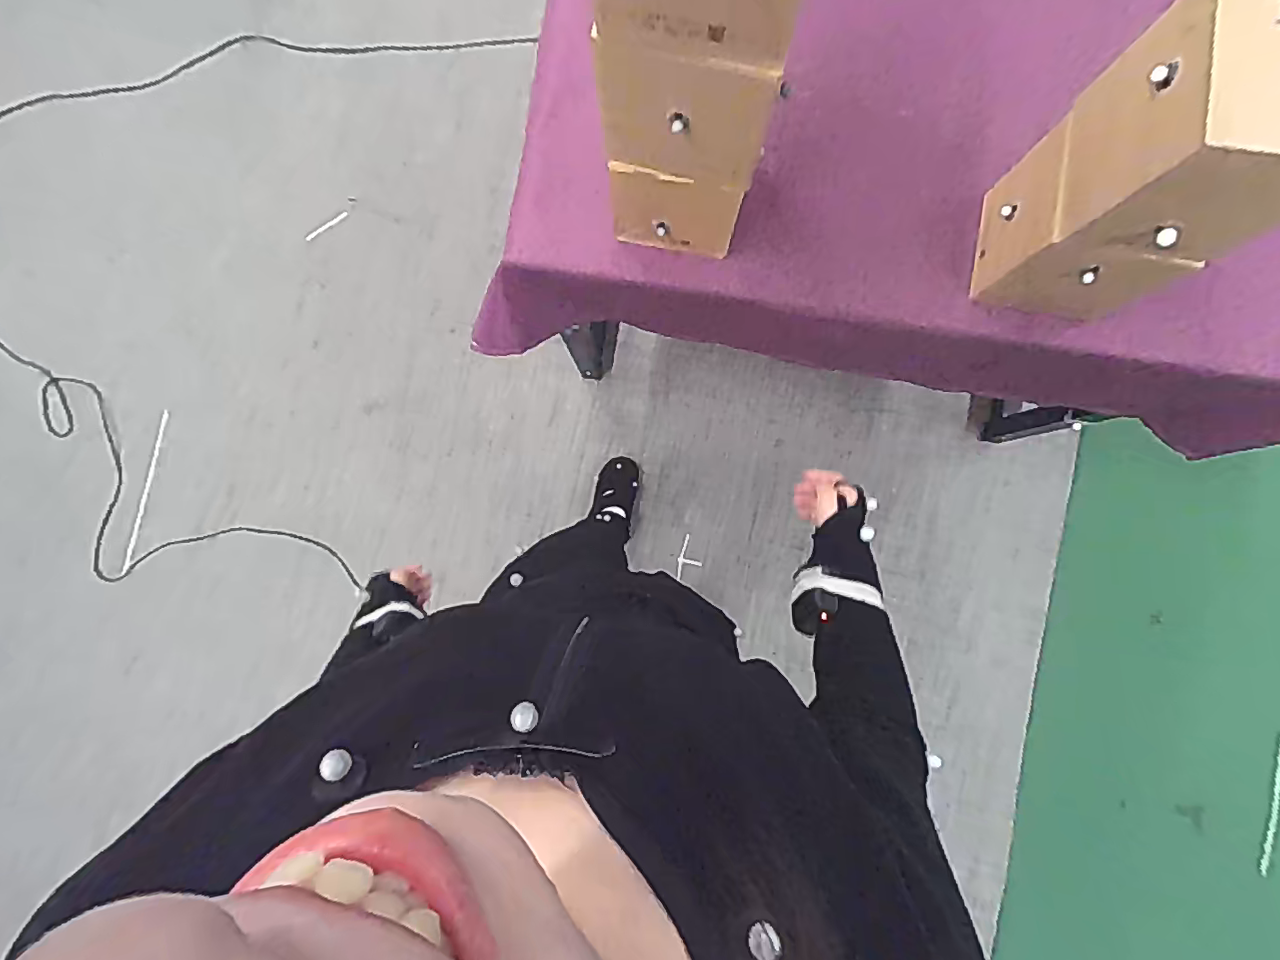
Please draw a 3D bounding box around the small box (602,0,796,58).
[{"bbox_3d":[0.056,-0.462,0.394,0.168,0.176,0.179,12,86,1],"label":"small box"}]

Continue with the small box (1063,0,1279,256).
[{"bbox_3d":[0.567,-0.354,0.537,0.168,0.176,0.179,9,87,2],"label":"small box"}]

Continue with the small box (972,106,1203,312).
[{"bbox_3d":[0.570,-0.335,0.701,0.179,0.176,0.168,11,87,2],"label":"small box"}]

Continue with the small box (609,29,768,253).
[{"bbox_3d":[0.059,-0.437,0.721,0.168,0.176,0.179,11,87,2],"label":"small box"}]
